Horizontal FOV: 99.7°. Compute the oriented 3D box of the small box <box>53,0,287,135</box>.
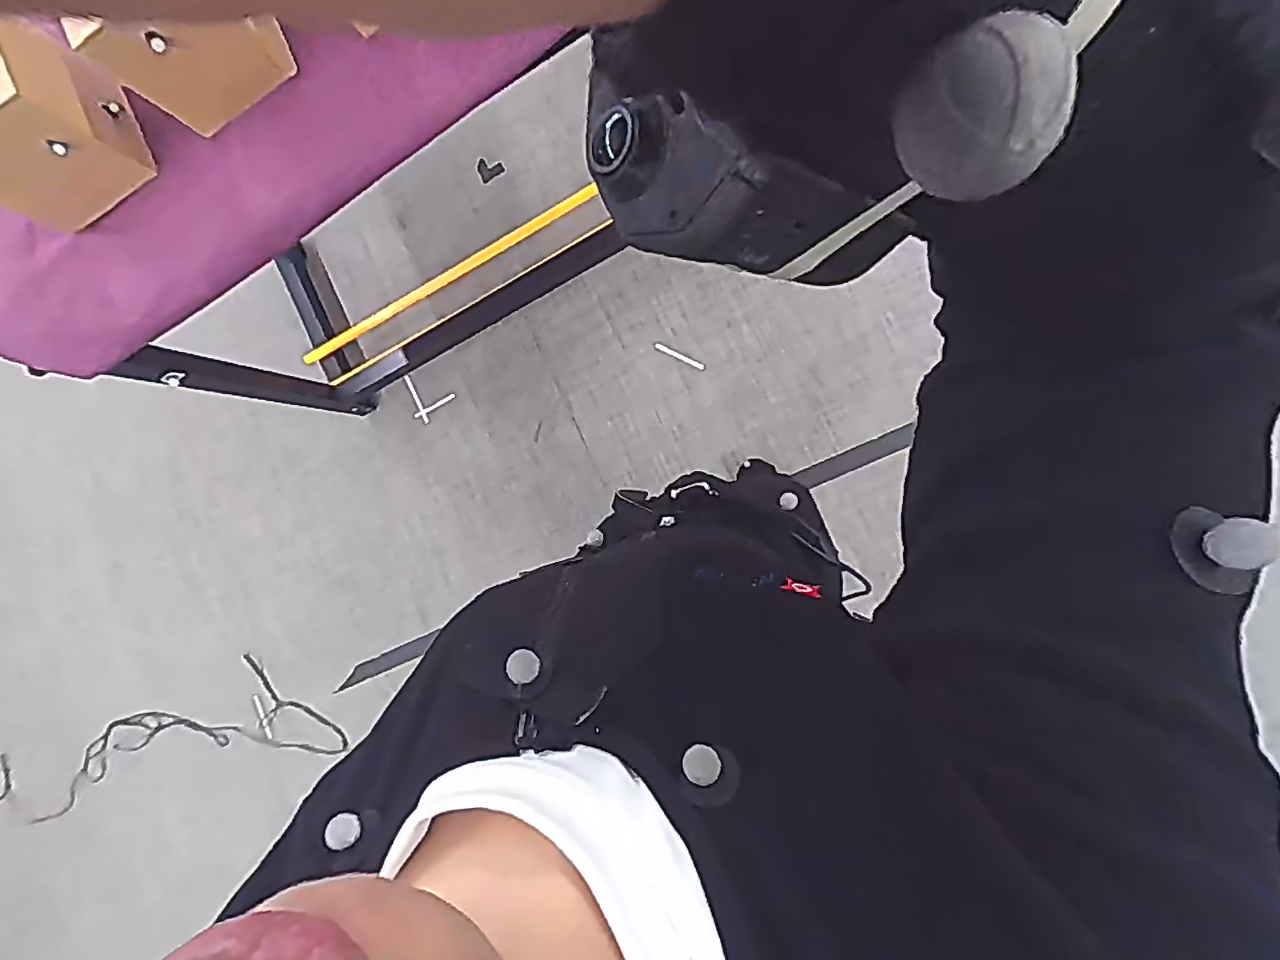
[{"bbox_3d":[-0.600,-0.605,0.700,0.179,0.176,0.168,-26,84,11],"label":"small box"}]

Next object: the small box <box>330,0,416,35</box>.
[{"bbox_3d":[-0.346,-0.704,0.644,0.179,0.176,0.168,-27,83,11],"label":"small box"}]
